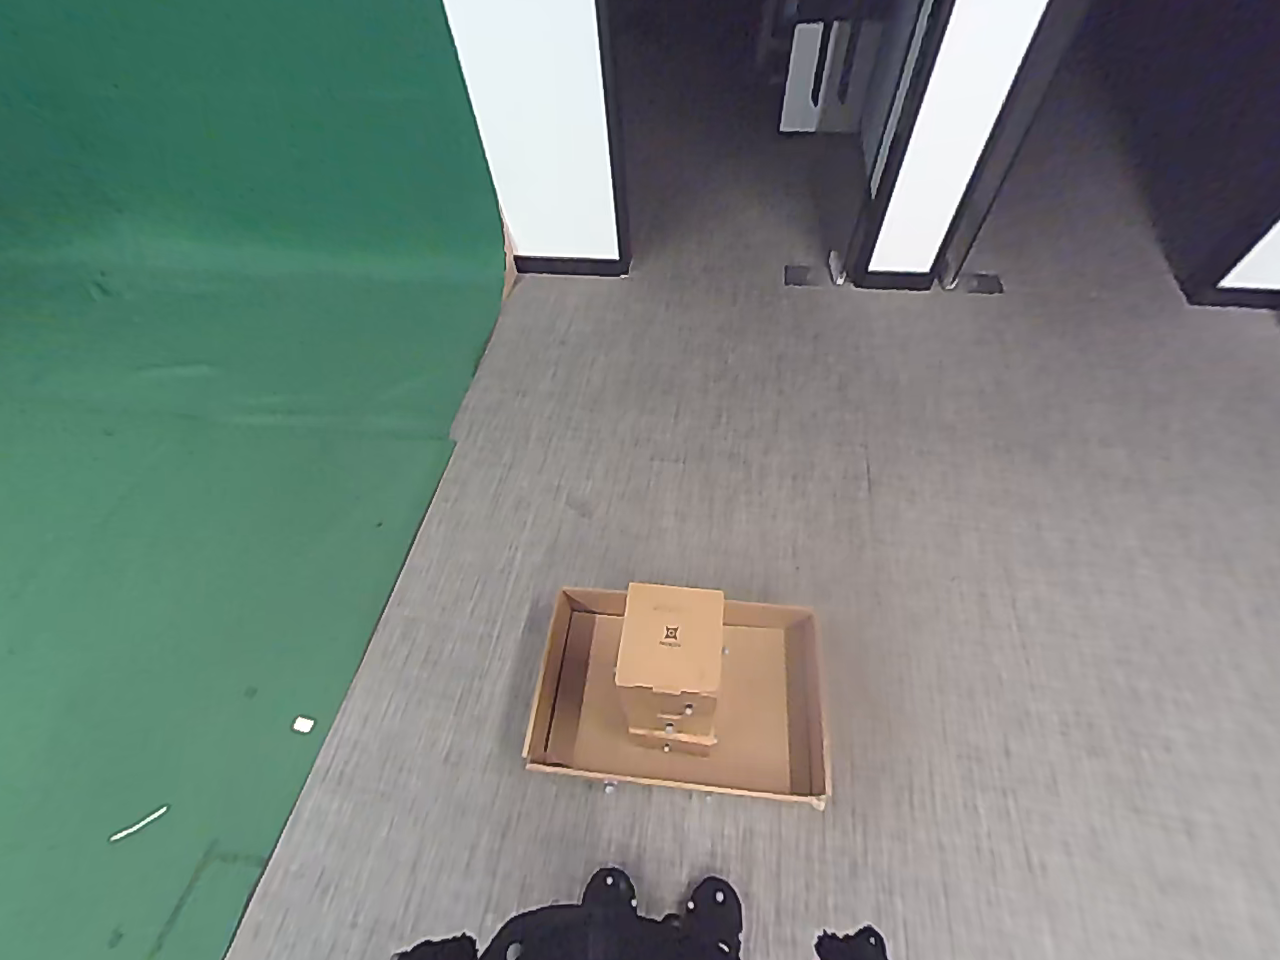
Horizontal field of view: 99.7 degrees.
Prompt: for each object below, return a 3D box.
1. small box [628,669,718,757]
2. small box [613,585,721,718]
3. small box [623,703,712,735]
[{"bbox_3d":[0.079,0.515,1.220,0.179,0.176,0.168,5,54,9],"label":"small box"},{"bbox_3d":[0.053,0.305,0.951,0.168,0.176,0.179,4,54,6],"label":"small box"},{"bbox_3d":[0.064,0.409,1.100,0.168,0.176,0.179,1,54,6],"label":"small box"}]
